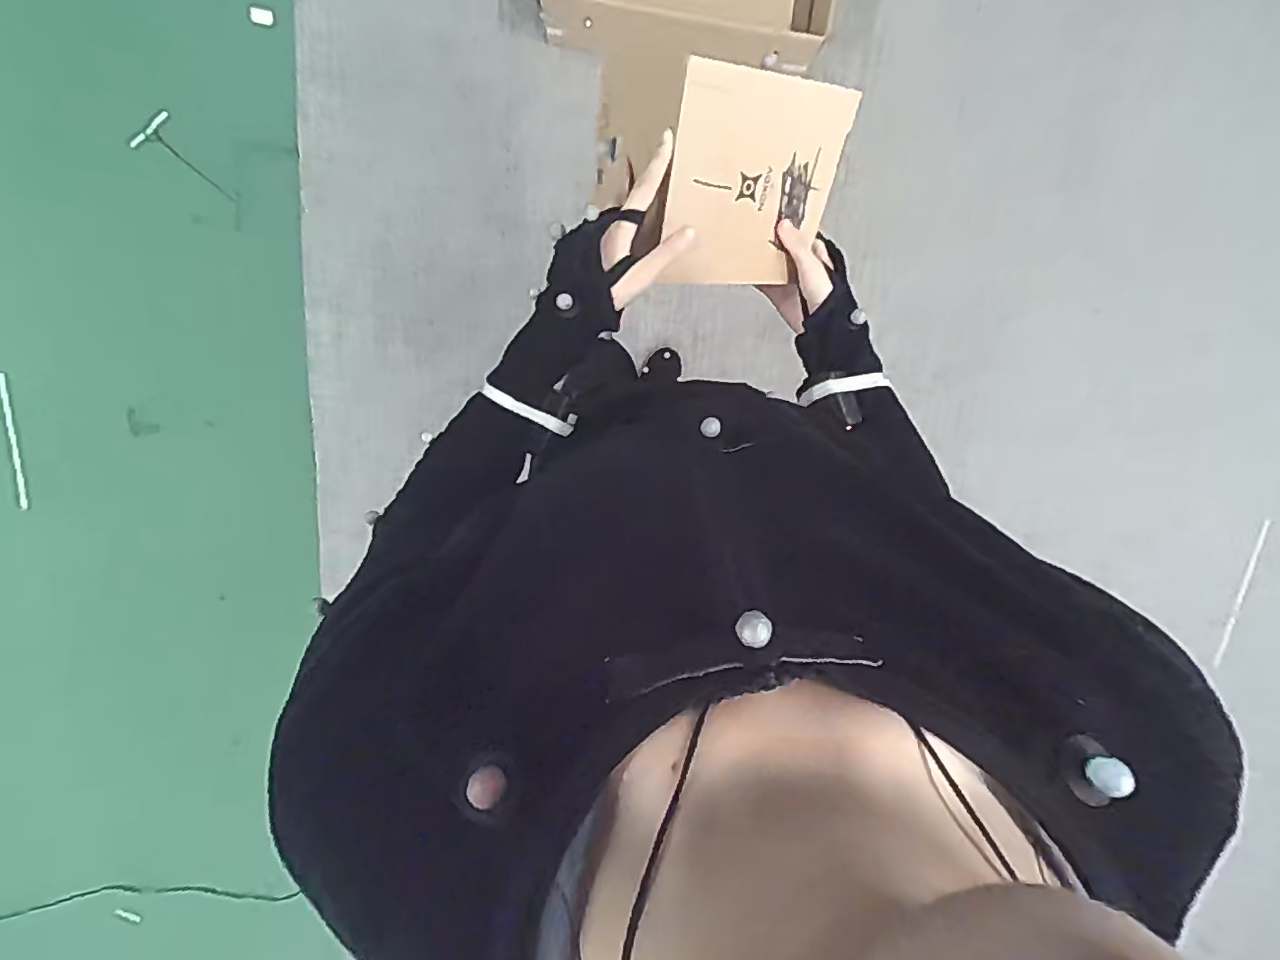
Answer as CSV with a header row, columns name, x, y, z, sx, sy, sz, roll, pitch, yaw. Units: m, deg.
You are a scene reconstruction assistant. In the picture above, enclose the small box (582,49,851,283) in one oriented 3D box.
name,x,y,z,sx,sy,sz,roll,pitch,yaw
small box,0.059,-0.303,0.528,0.179,0.176,0.168,-8,129,-24
